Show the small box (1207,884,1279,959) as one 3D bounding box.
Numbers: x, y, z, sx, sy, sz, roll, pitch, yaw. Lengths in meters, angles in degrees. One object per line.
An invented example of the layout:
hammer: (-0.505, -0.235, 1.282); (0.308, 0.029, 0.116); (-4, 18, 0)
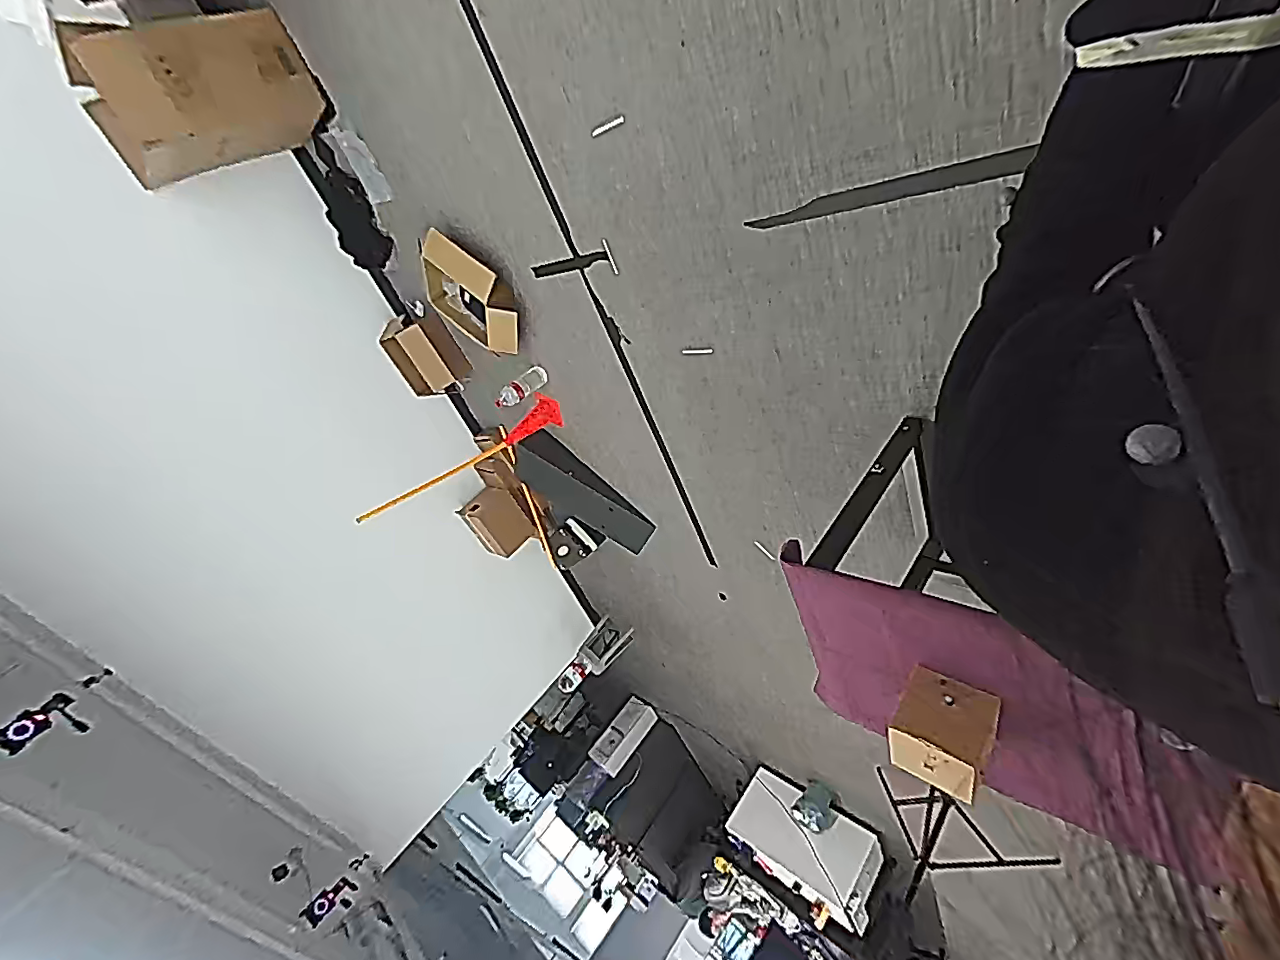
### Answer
small box: (0.895, 0.705, 0.730); (0.168, 0.176, 0.179); (11, 137, 45)

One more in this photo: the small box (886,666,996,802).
small box: (0.652, 0.544, 1.171); (0.168, 0.176, 0.179); (15, 139, 41)

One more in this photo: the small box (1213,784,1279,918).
small box: (0.995, 0.600, 0.807); (0.168, 0.176, 0.179); (12, 137, 45)
